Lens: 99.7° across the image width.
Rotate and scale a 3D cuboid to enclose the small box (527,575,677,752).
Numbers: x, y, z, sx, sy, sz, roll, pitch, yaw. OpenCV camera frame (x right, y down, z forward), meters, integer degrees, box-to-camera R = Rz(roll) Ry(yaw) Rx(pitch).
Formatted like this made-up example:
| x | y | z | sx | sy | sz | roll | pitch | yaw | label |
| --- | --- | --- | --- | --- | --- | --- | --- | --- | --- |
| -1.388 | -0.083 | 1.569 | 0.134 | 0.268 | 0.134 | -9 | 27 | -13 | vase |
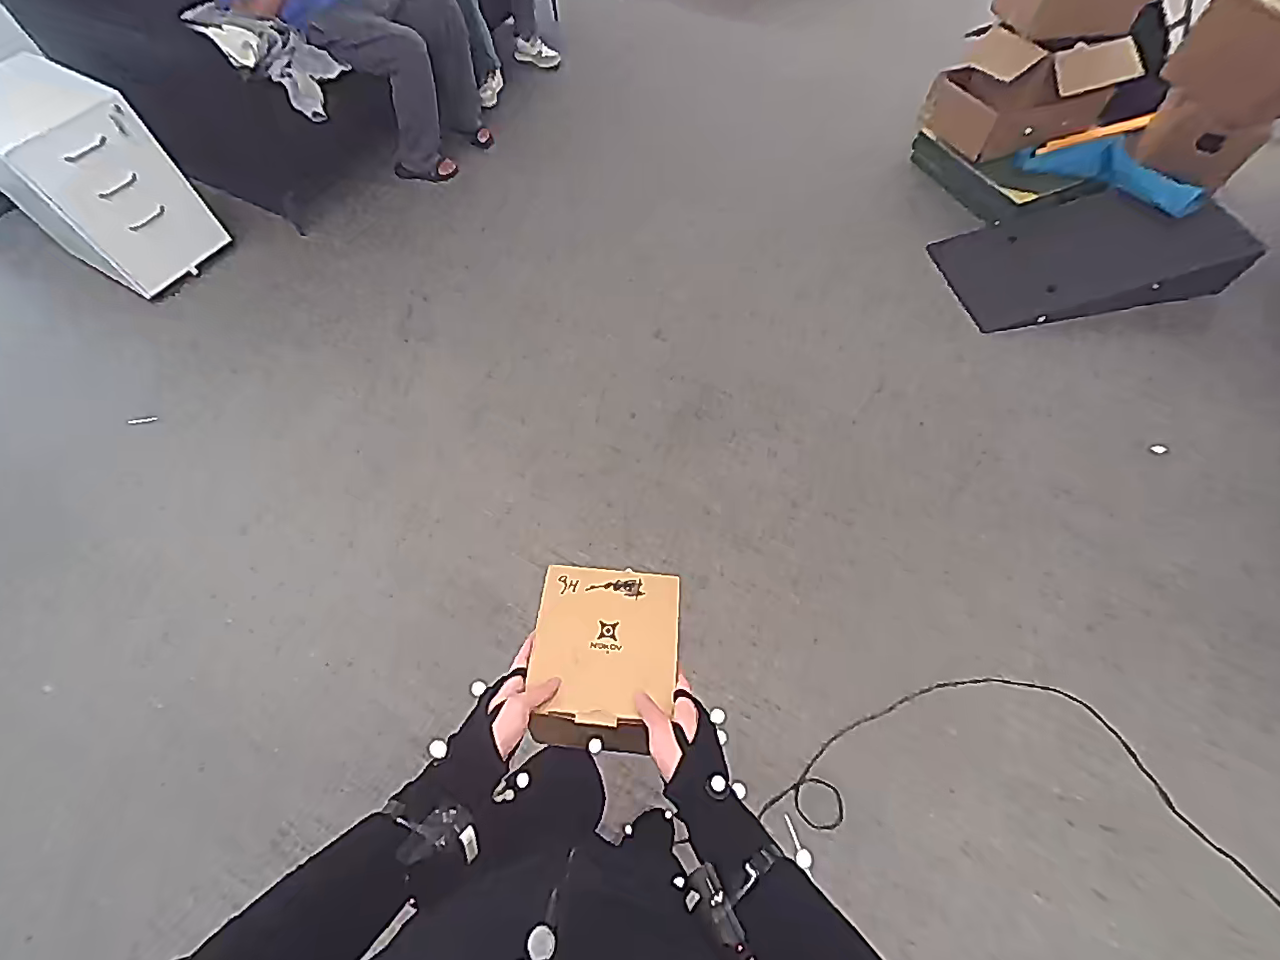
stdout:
| x | y | z | sx | sy | sz | roll | pitch | yaw | label |
| --- | --- | --- | --- | --- | --- | --- | --- | --- | --- |
| -0.041 | 0.240 | 0.694 | 0.168 | 0.176 | 0.179 | 3 | 54 | -1 | small box |
